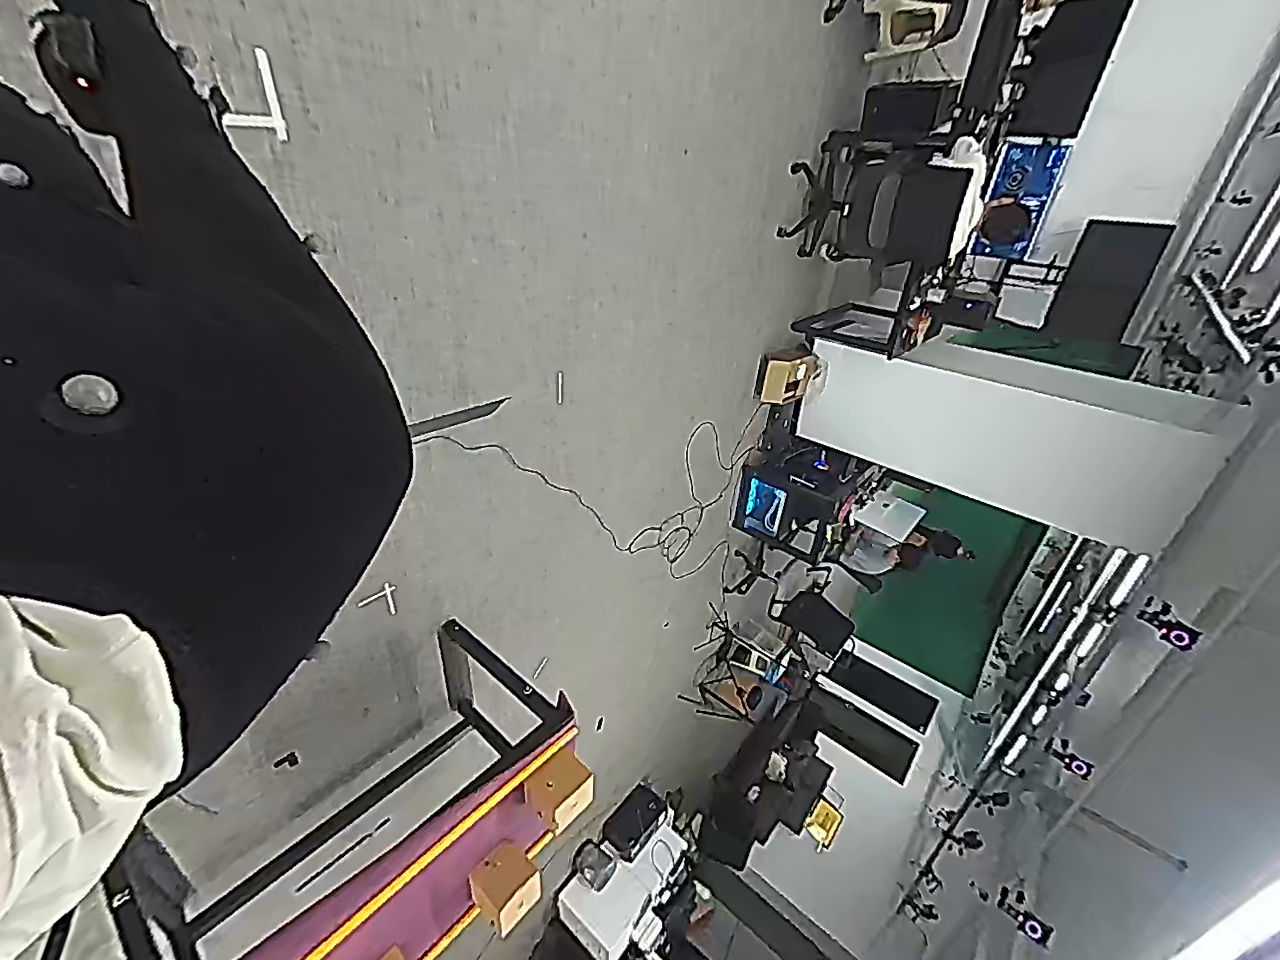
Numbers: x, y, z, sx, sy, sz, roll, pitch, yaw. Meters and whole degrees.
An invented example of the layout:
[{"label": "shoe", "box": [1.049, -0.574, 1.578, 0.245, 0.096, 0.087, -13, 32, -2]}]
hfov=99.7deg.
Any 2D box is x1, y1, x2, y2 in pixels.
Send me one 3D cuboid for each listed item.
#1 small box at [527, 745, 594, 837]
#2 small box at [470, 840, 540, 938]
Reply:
[{"label": "small box", "box": [-0.281, 1.073, 1.876, 0.179, 0.176, 0.168, -26, 132, -42]}, {"label": "small box", "box": [-0.457, 1.382, 1.838, 0.168, 0.176, 0.179, -27, 130, -44]}]
